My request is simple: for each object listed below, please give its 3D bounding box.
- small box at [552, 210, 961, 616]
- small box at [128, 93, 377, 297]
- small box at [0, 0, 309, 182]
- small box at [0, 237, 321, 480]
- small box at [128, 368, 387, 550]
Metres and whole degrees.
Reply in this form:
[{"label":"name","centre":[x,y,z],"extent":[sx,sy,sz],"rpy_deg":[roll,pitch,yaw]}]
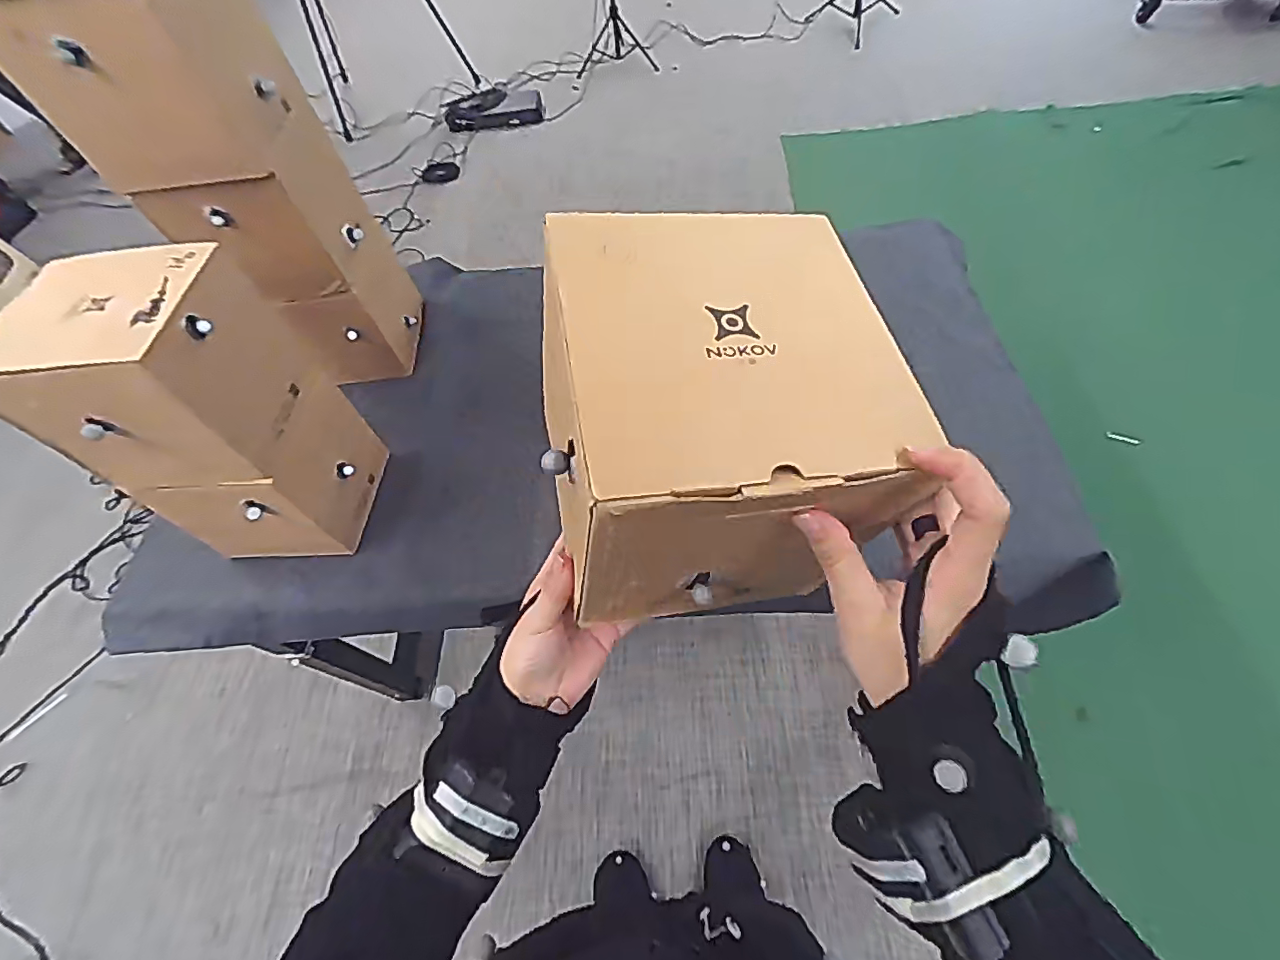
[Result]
[{"label":"small box","centre":[0.037,-0.034,0.330],"extent":[0.168,0.176,0.179],"rpy_deg":[-6,62,-12]},{"label":"small box","centre":[-0.476,-0.357,0.697],"extent":[0.179,0.176,0.168],"rpy_deg":[-6,61,1]},{"label":"small box","centre":[-0.487,-0.431,0.551],"extent":[0.179,0.176,0.168],"rpy_deg":[-5,61,2]},{"label":"small box","centre":[-0.471,-0.112,0.544],"extent":[0.179,0.176,0.168],"rpy_deg":[-5,57,4]},{"label":"small box","centre":[-0.451,-0.020,0.678],"extent":[0.179,0.176,0.168],"rpy_deg":[-2,56,5]}]
